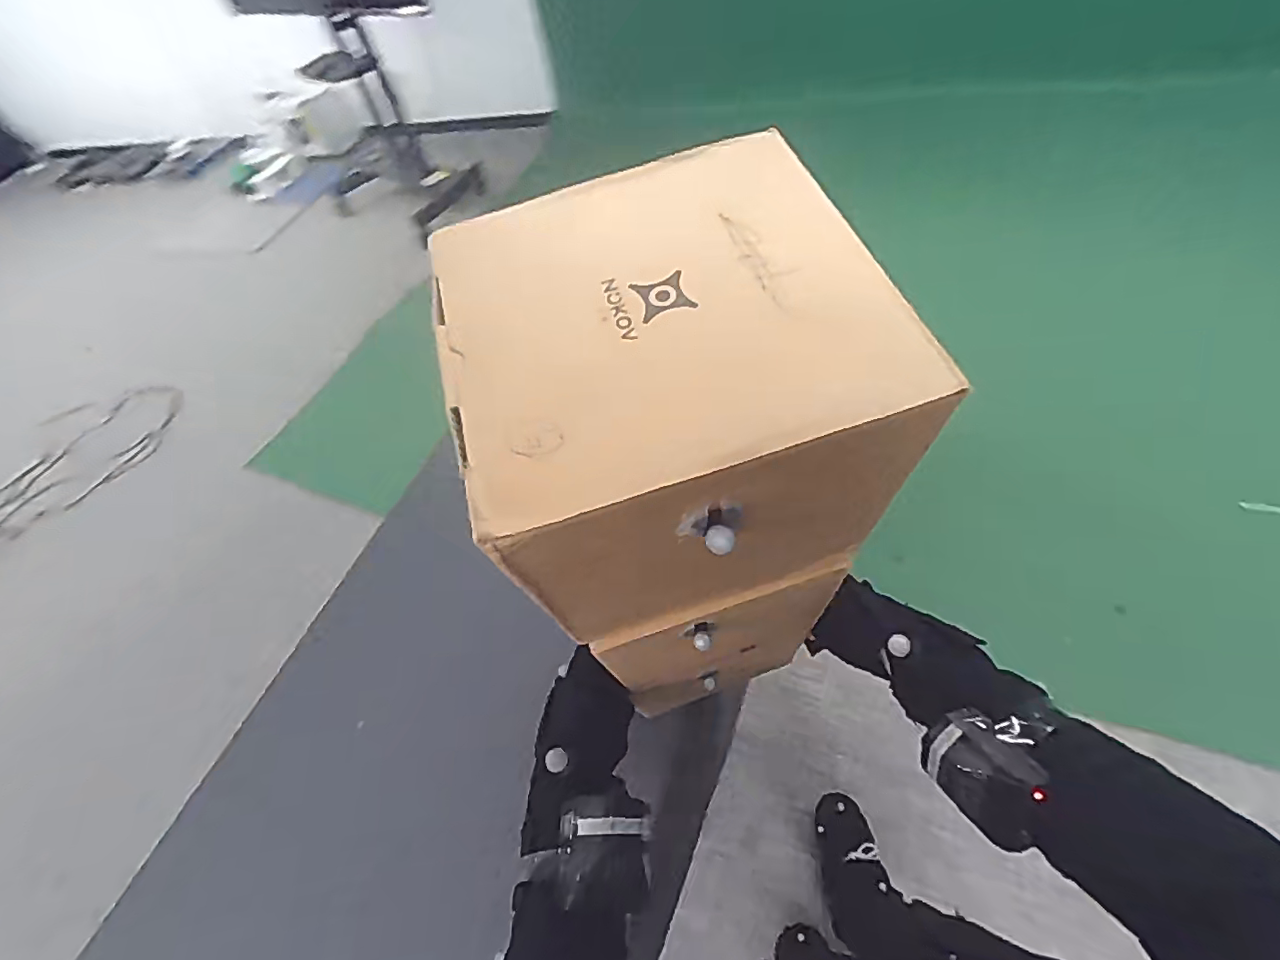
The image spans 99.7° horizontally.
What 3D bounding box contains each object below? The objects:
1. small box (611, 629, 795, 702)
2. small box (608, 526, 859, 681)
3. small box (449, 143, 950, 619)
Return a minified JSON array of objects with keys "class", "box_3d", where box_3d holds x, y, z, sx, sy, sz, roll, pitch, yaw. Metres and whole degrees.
[{"class":"small box","box_3d":[0.058,0.123,0.578,0.179,0.176,0.168,-18,60,-3]},{"class":"small box","box_3d":[0.042,0.041,0.441,0.168,0.176,0.179,-19,61,-4]},{"class":"small box","box_3d":[0.019,-0.038,0.298,0.179,0.176,0.168,-17,62,-2]}]
